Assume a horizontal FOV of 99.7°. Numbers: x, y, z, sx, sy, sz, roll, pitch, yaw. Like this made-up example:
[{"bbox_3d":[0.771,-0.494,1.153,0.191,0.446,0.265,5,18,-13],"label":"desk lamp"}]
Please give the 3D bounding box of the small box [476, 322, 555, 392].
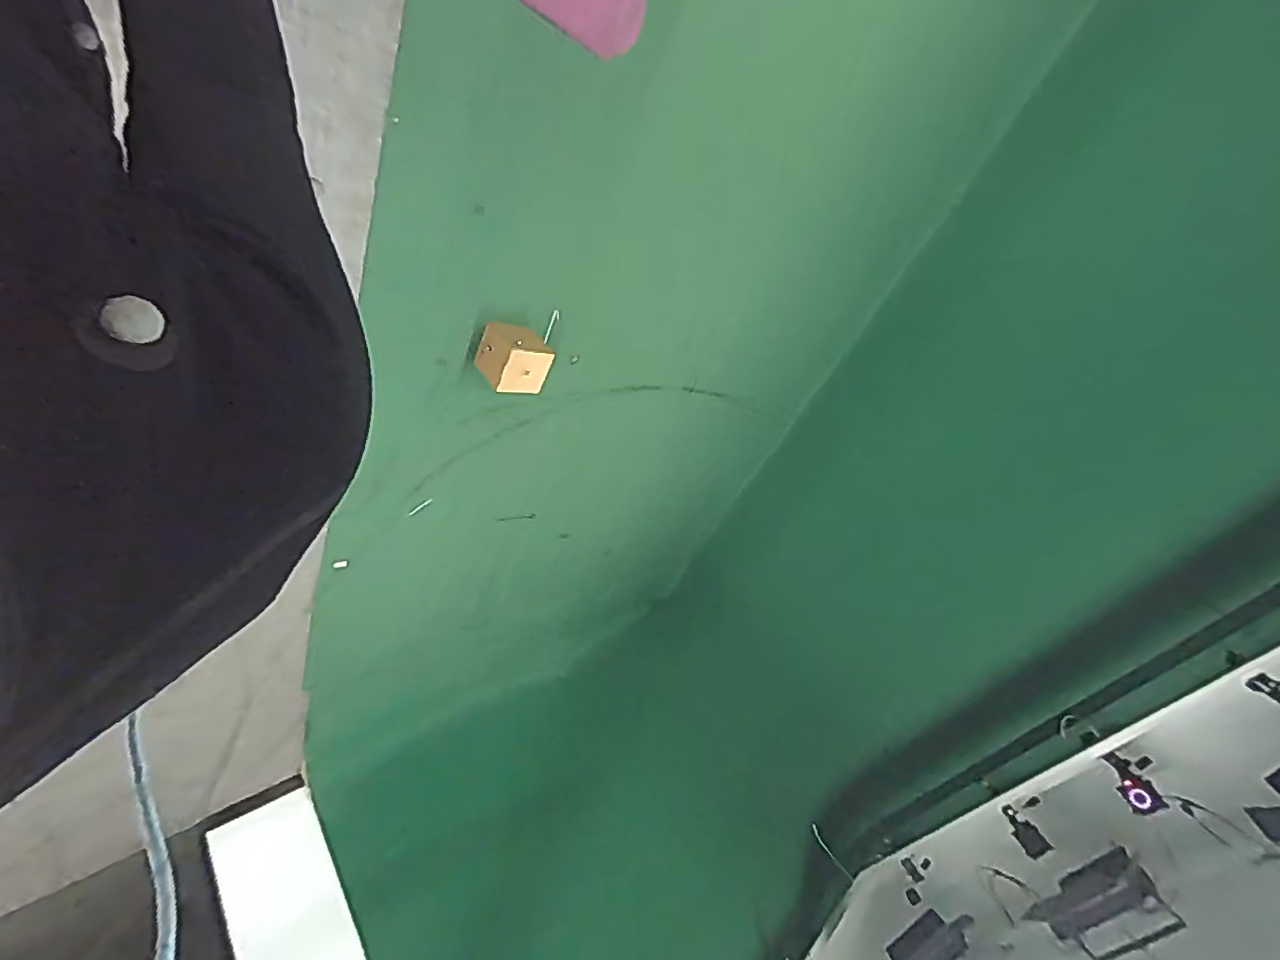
[{"bbox_3d":[-0.427,-0.419,1.843,0.179,0.176,0.168,-7,138,-47],"label":"small box"}]
